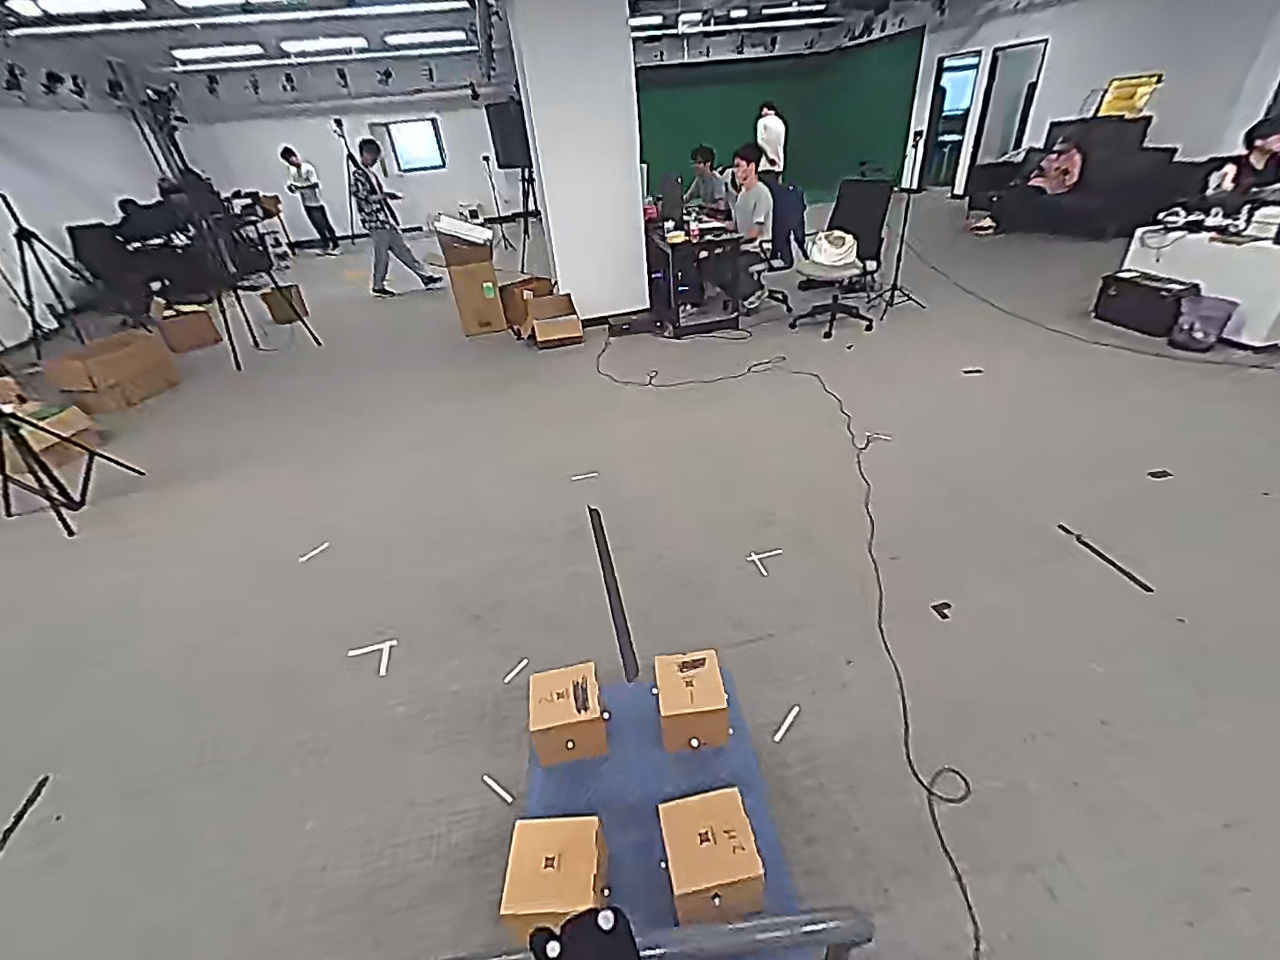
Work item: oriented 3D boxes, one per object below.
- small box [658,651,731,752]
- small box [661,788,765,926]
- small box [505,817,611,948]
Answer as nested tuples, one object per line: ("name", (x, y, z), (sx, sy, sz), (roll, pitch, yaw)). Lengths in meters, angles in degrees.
("small box", (0.138, 0.577, 1.412), (0.168, 0.176, 0.179), (-7, 34, 0))
("small box", (0.149, 0.773, 1.109), (0.179, 0.176, 0.168), (-10, 33, -5))
("small box", (-0.157, 0.818, 1.099), (0.179, 0.176, 0.168), (-4, 32, 2))
